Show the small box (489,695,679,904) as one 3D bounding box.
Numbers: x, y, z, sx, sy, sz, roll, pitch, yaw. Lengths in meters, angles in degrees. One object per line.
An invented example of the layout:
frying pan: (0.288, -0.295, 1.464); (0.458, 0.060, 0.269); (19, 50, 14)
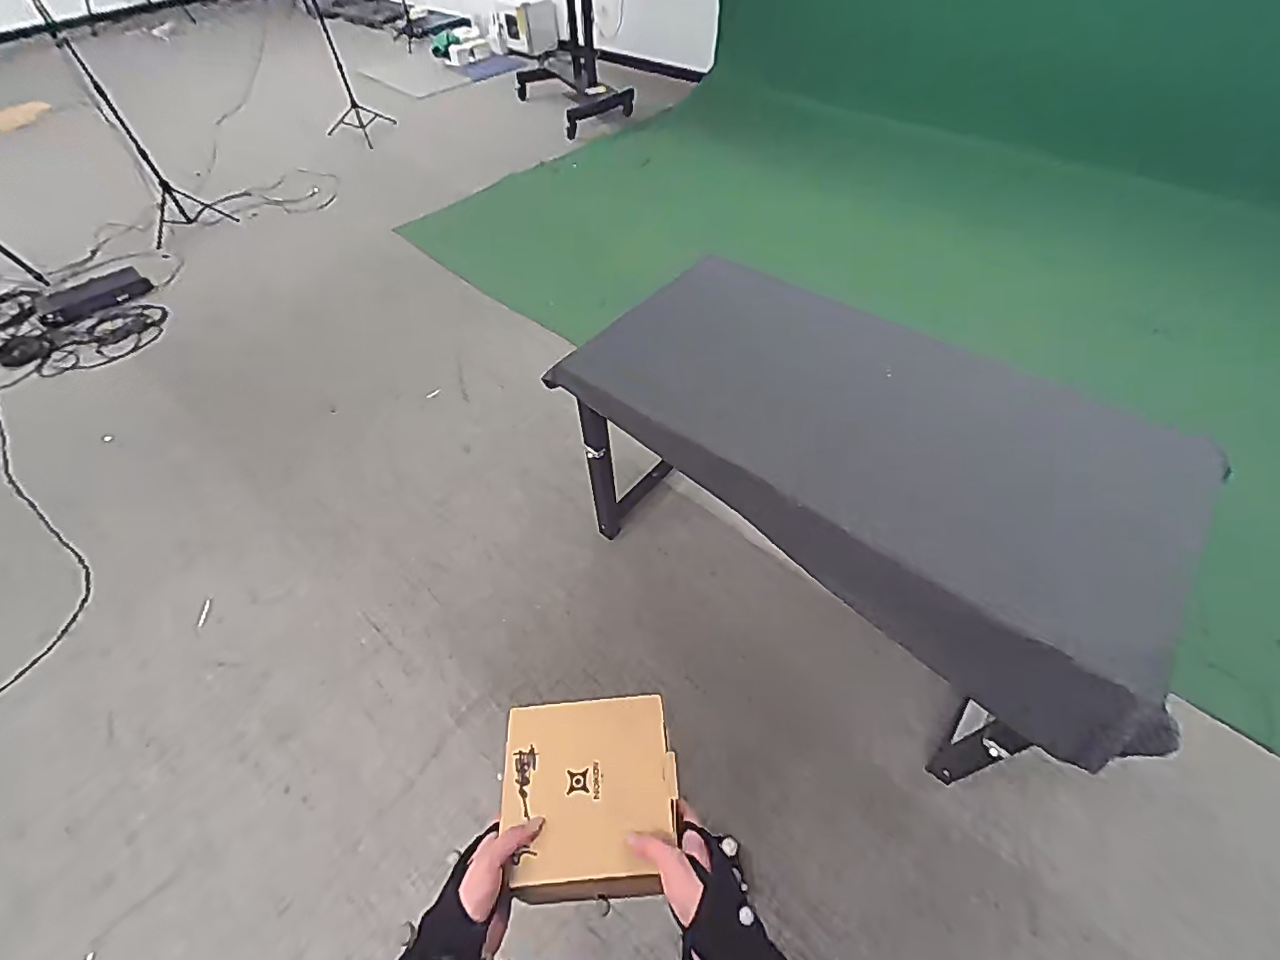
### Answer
small box: (-0.053, 0.359, 0.606); (0.179, 0.176, 0.168); (-5, 46, 0)
